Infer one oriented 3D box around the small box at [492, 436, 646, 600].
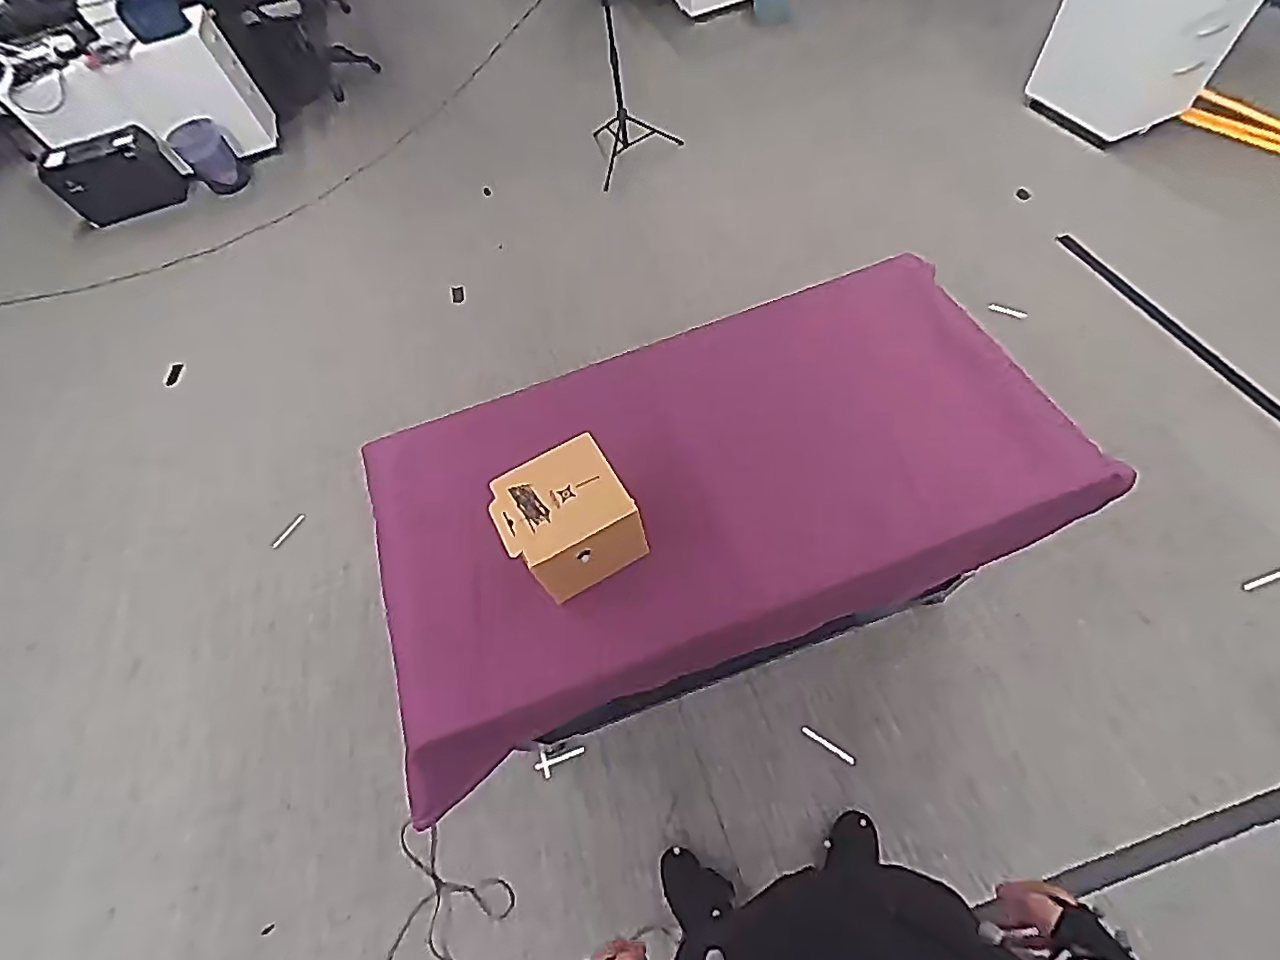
[{"bbox_3d":[-0.107,0.067,0.872,0.179,0.176,0.168,-29,61,-9],"label":"small box"}]
